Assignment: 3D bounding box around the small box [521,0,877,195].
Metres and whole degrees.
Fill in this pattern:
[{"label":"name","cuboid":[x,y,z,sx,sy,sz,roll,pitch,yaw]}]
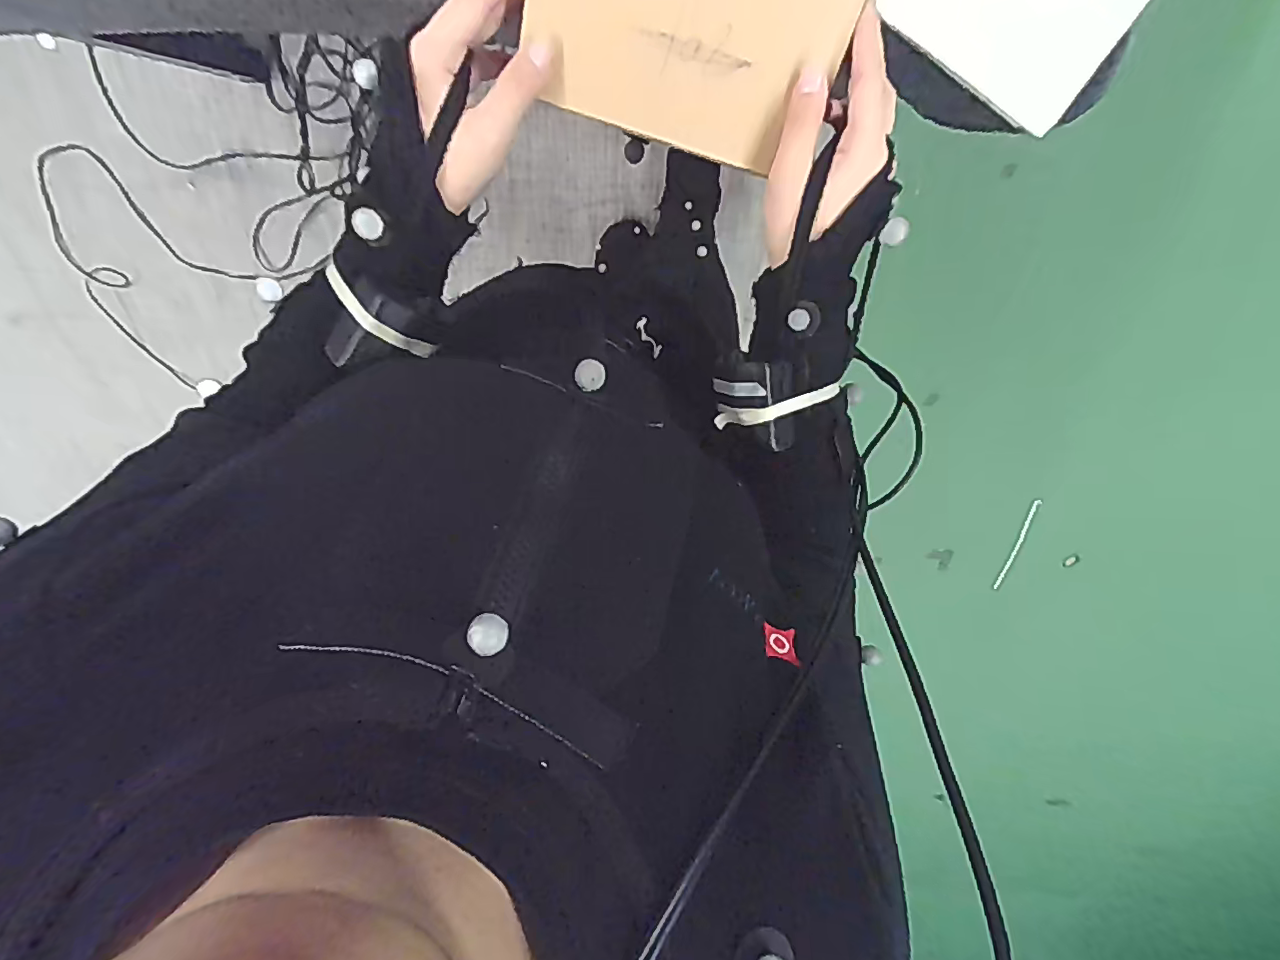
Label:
[{"label":"small box","cuboid":[0.037,-0.294,0.322,0.168,0.176,0.179,13,122,-7]}]
